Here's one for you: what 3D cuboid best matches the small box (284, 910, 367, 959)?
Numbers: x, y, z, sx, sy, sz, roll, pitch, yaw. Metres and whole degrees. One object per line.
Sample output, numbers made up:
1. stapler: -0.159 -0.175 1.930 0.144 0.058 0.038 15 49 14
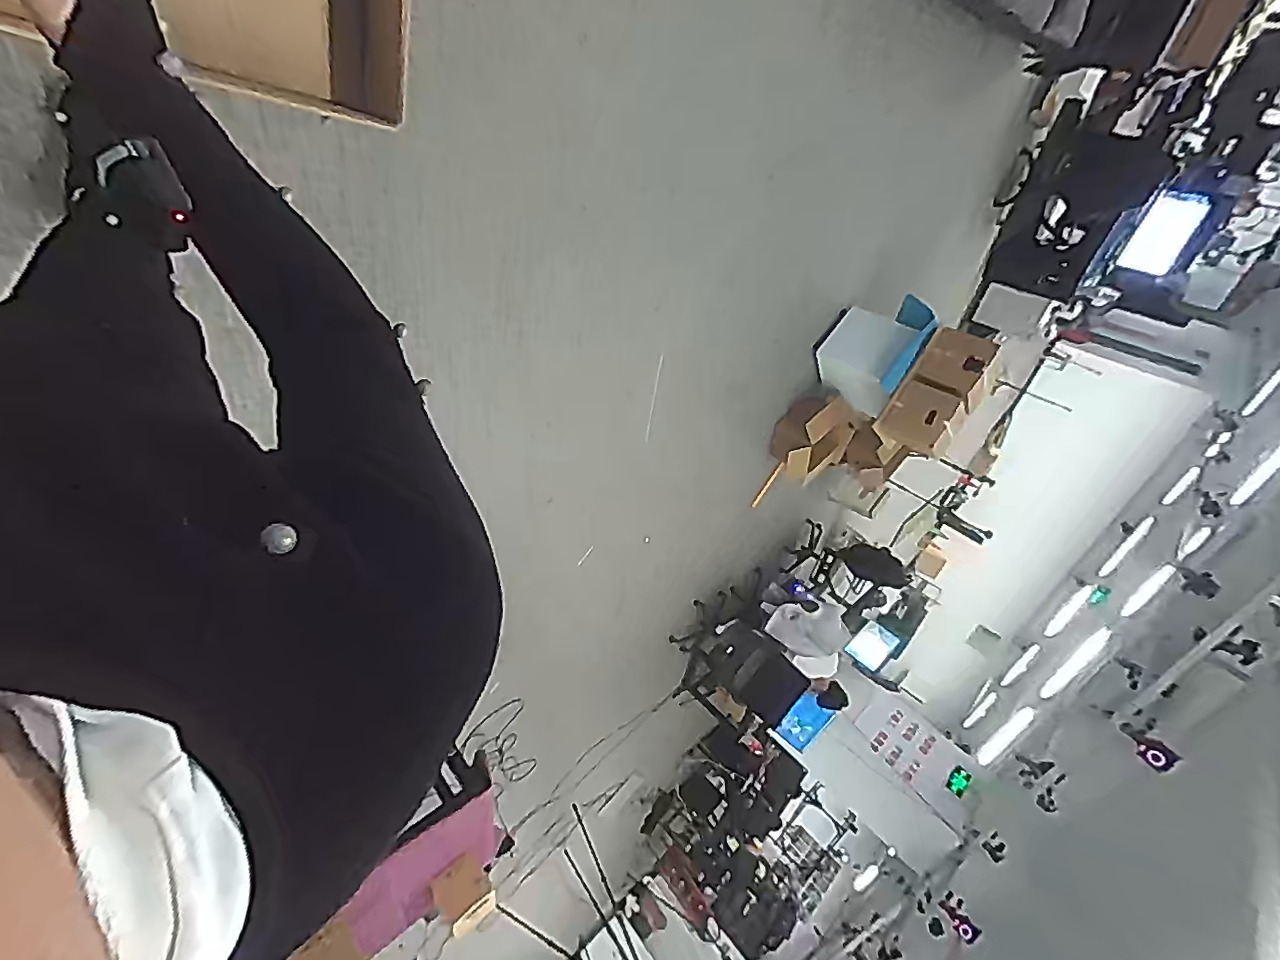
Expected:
1. small box: -0.912 1.415 1.581 0.168 0.176 0.179 -23 138 -40
